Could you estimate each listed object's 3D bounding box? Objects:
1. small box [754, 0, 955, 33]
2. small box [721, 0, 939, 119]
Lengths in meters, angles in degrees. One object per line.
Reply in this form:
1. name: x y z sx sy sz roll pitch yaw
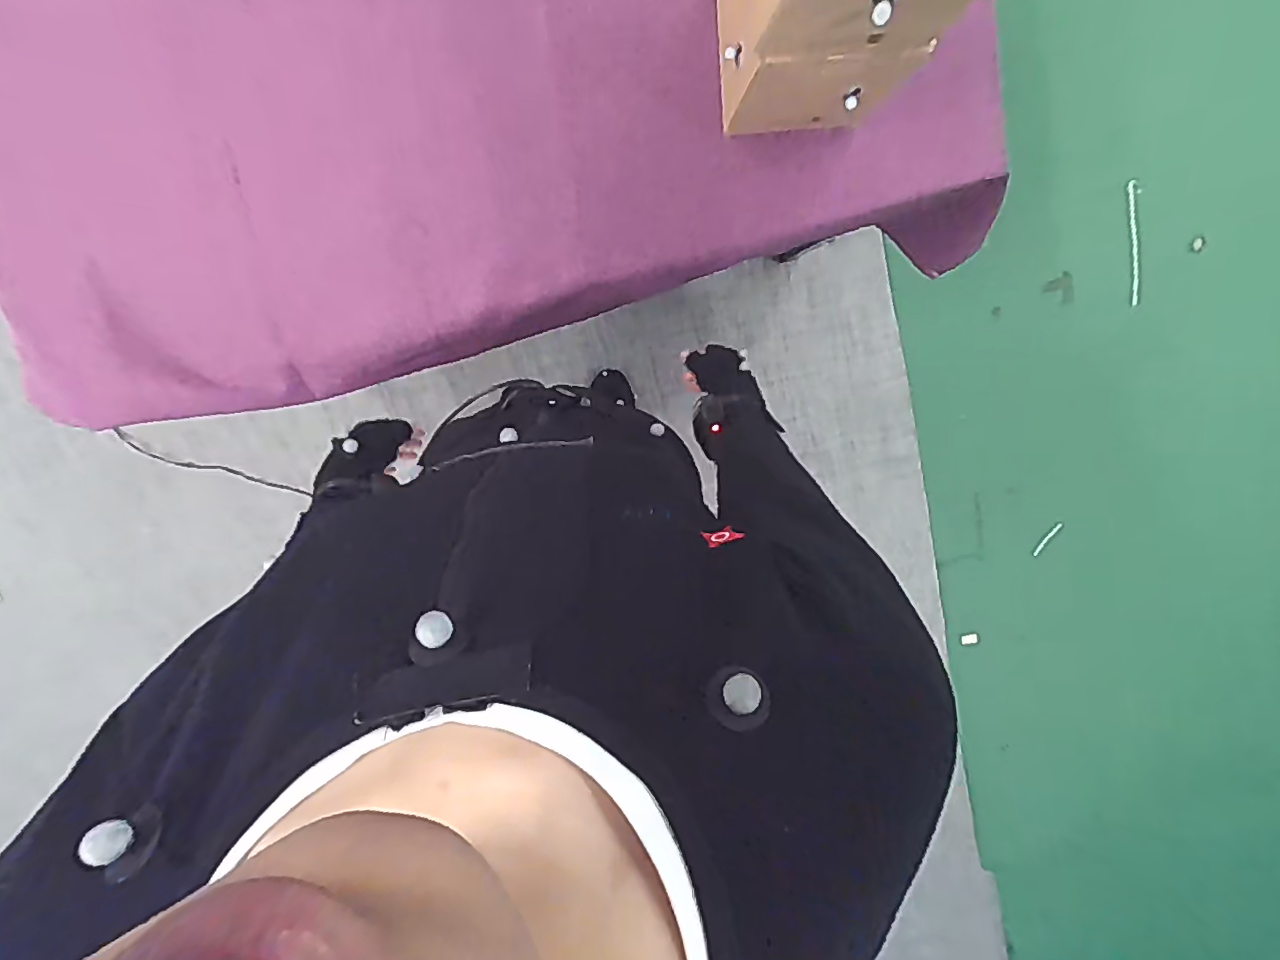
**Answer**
1. small box: 0.181 -0.459 0.387 0.168 0.176 0.179 -6 104 -4
2. small box: 0.180 -0.493 0.548 0.168 0.176 0.179 -6 103 -2
